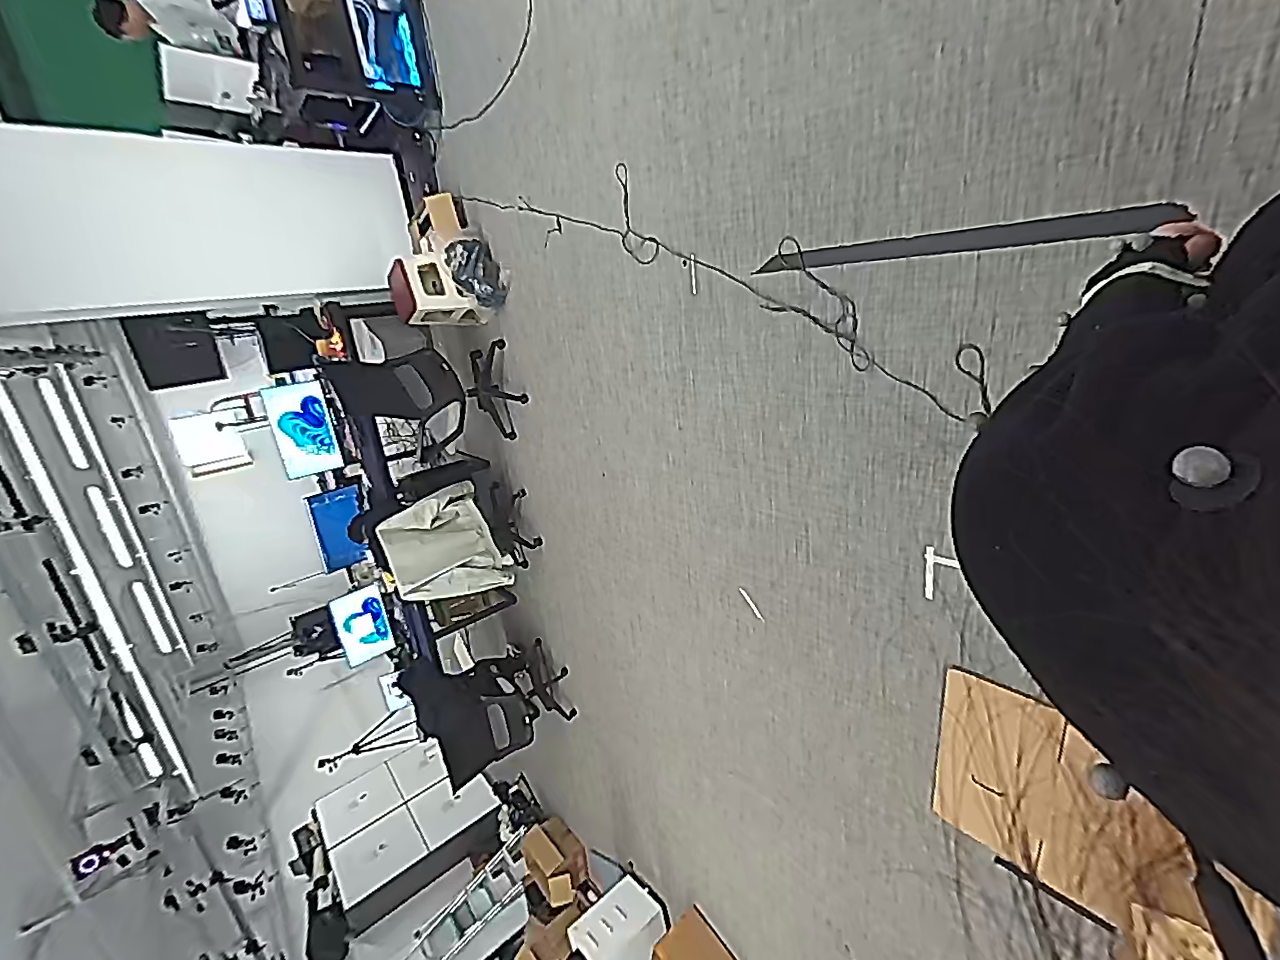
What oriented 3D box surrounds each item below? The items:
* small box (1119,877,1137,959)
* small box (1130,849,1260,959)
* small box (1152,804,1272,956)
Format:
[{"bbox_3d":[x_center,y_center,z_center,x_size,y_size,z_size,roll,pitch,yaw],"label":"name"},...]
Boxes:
[{"bbox_3d":[1.282,1.126,1.303,0.168,0.176,0.179,3,109,51],"label":"small box"},{"bbox_3d":[1.136,0.919,1.106,0.168,0.176,0.179,-4,103,51],"label":"small box"},{"bbox_3d":[1.264,0.867,1.196,0.168,0.176,0.179,-4,102,53],"label":"small box"}]
